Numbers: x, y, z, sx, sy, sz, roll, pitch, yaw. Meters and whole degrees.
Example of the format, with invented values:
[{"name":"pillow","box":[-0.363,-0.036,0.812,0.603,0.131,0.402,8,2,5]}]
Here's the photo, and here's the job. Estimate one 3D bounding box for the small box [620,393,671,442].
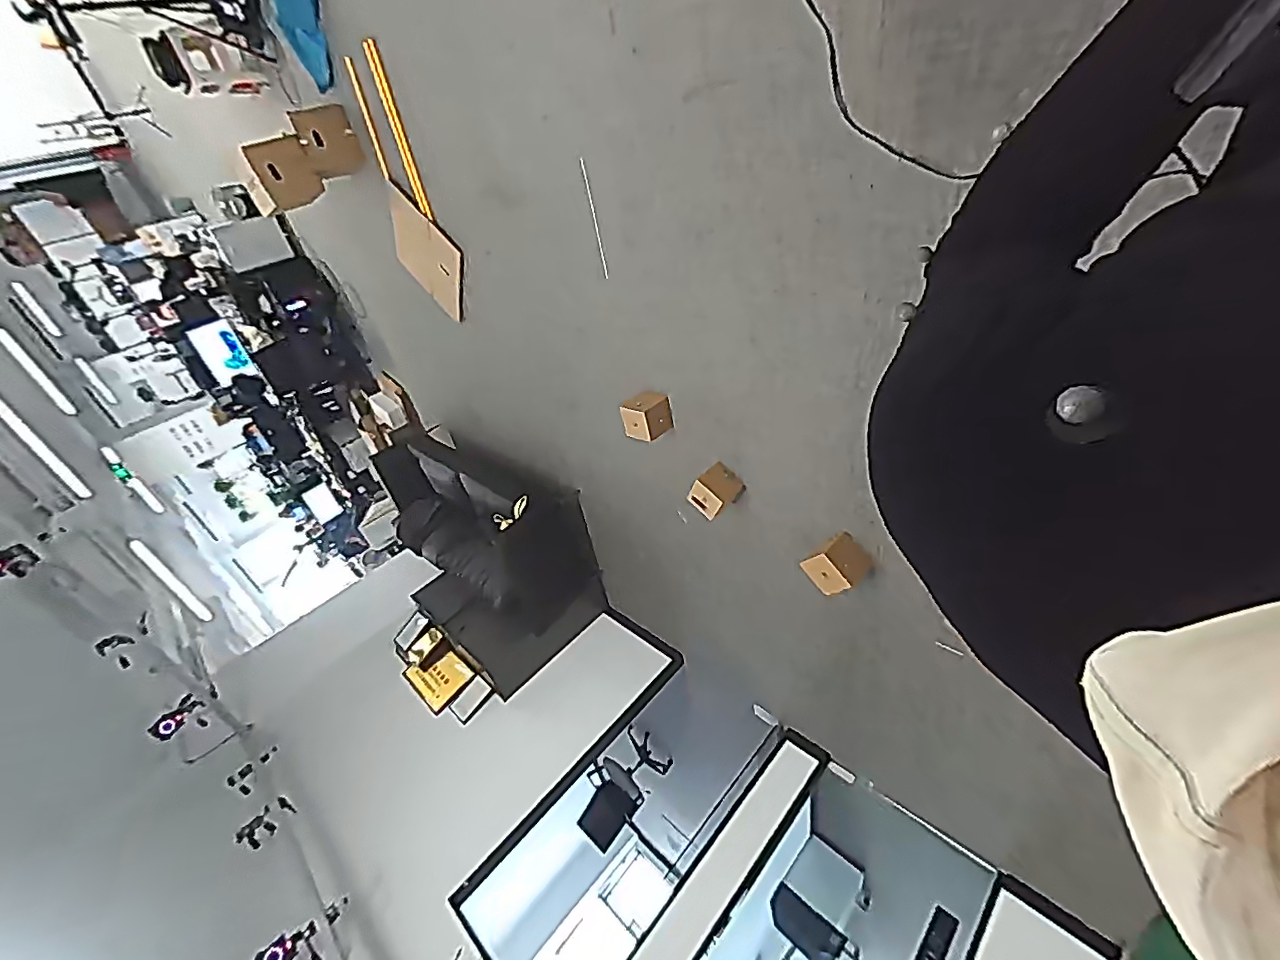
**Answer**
[{"name":"small box","box":[0.037,-0.308,2.626,0.179,0.176,0.168,20,136,42]}]
